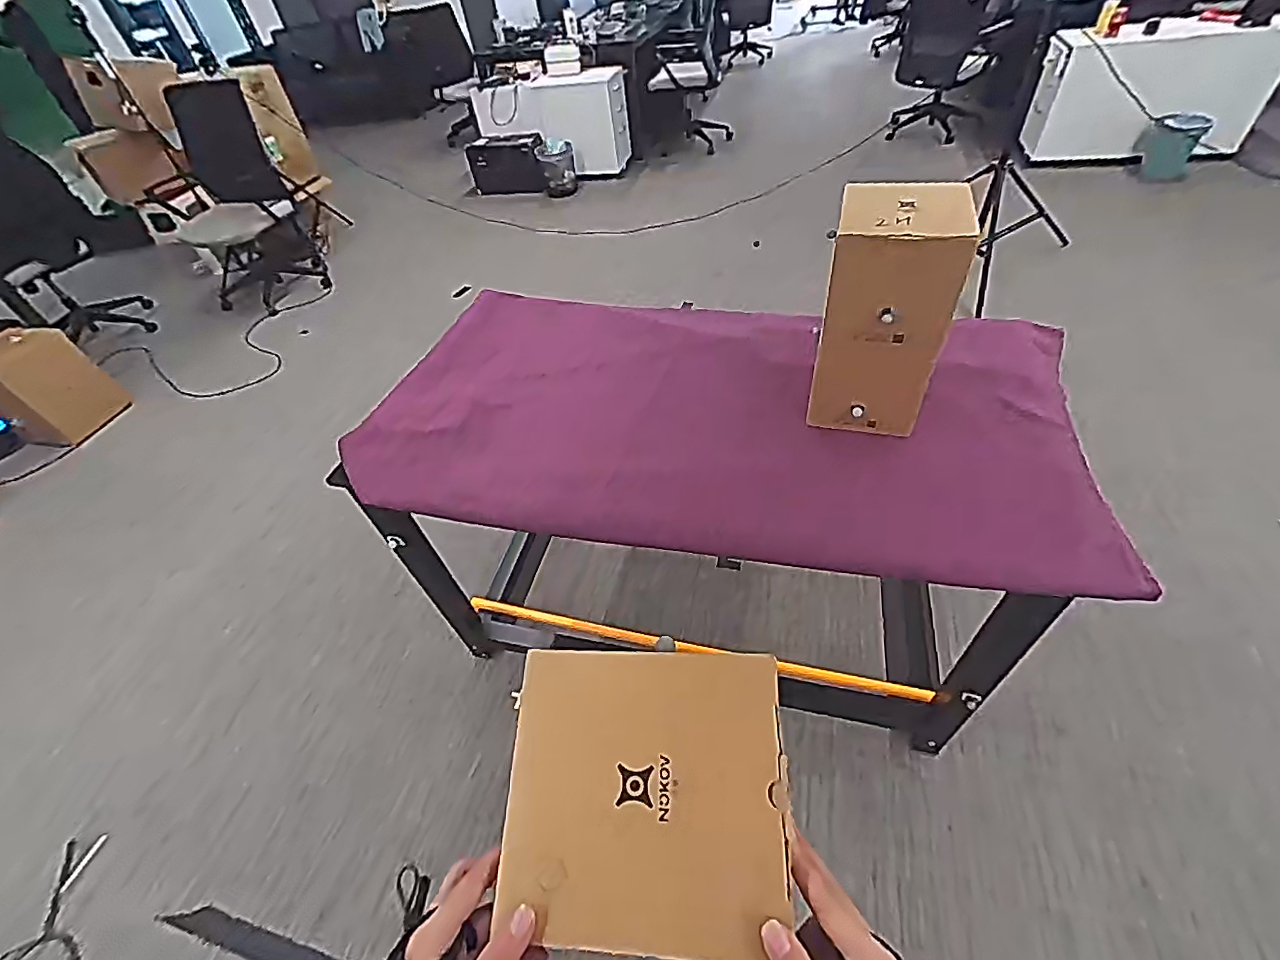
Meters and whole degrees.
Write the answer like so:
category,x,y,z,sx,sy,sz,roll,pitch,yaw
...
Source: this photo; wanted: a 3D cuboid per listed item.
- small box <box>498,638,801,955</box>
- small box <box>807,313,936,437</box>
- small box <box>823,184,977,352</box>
category,x,y,z,sx,sy,sz,roll,pitch,yaw
small box,0.018,0.222,0.408,0.179,0.176,0.168,-2,62,9
small box,0.381,-0.199,0.906,0.168,0.176,0.179,9,50,17
small box,0.365,-0.310,0.785,0.168,0.176,0.179,8,49,17
